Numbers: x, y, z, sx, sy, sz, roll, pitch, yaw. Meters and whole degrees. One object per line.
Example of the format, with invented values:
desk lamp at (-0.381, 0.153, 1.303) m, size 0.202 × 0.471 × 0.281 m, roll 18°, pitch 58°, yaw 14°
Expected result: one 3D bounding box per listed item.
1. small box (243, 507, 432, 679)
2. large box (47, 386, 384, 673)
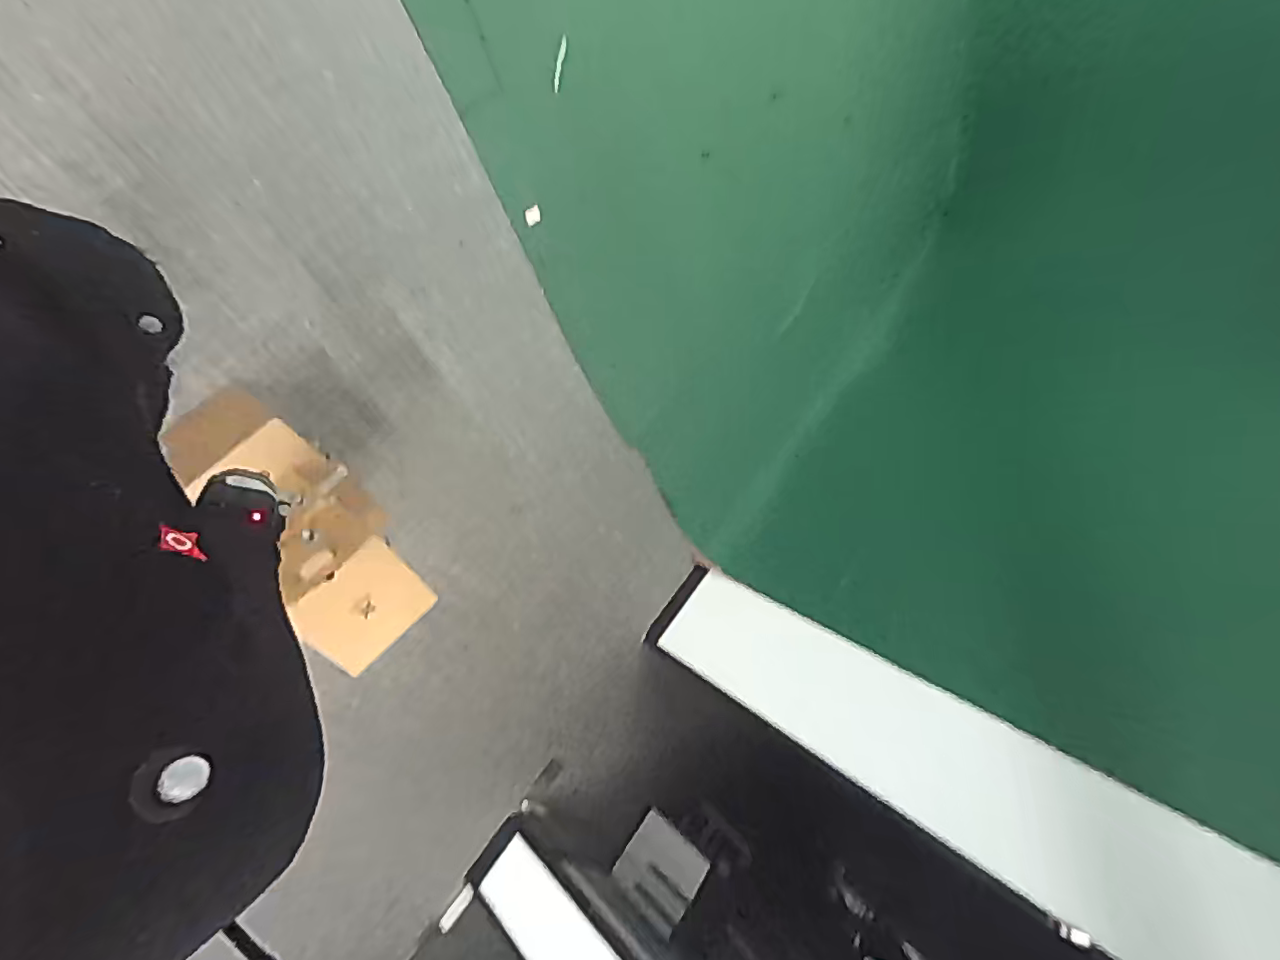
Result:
small box at (-0.473, 0.171, 0.855) m, size 0.168 × 0.176 × 0.179 m, roll -45°, pitch 137°, yaw -24°
large box at (-0.816, 0.083, 1.070) m, size 0.408 × 0.320 × 0.320 m, roll -48°, pitch 138°, yaw -19°
